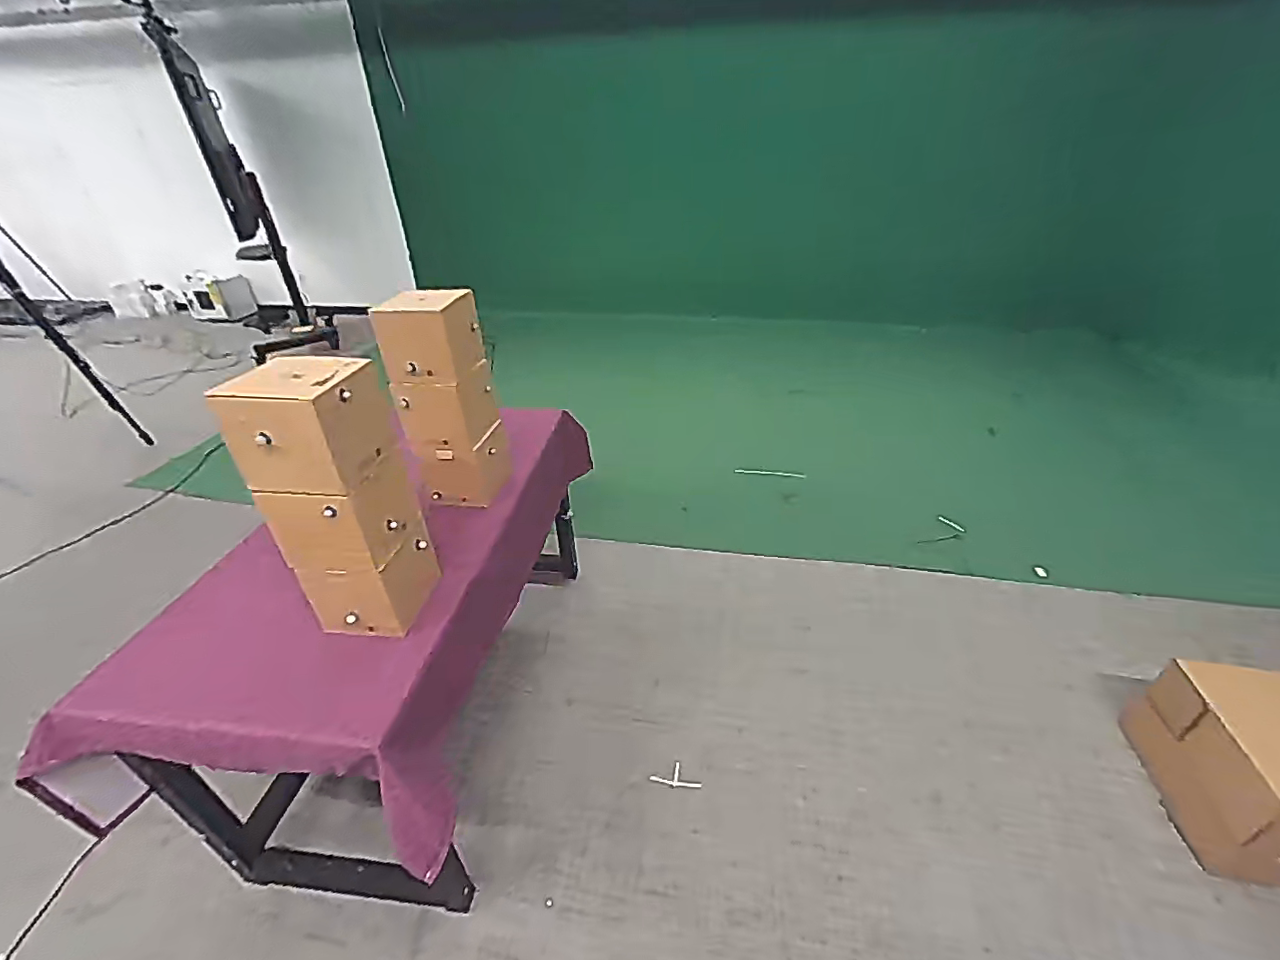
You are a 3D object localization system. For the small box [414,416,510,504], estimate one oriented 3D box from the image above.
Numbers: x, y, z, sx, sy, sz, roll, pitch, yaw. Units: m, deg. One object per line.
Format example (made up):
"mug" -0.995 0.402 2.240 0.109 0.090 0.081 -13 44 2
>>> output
"small box" -0.454 -0.053 1.416 0.168 0.176 0.179 4 34 9

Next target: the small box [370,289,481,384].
"small box" -0.480 -0.333 1.247 0.168 0.176 0.179 2 34 8

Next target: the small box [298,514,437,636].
"small box" -0.521 0.181 1.069 0.168 0.176 0.179 2 33 7

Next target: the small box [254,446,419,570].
"small box" -0.533 0.046 0.977 0.179 0.176 0.168 3 34 6

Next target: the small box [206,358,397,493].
"small box" -0.537 -0.091 0.887 0.179 0.176 0.168 2 34 7
